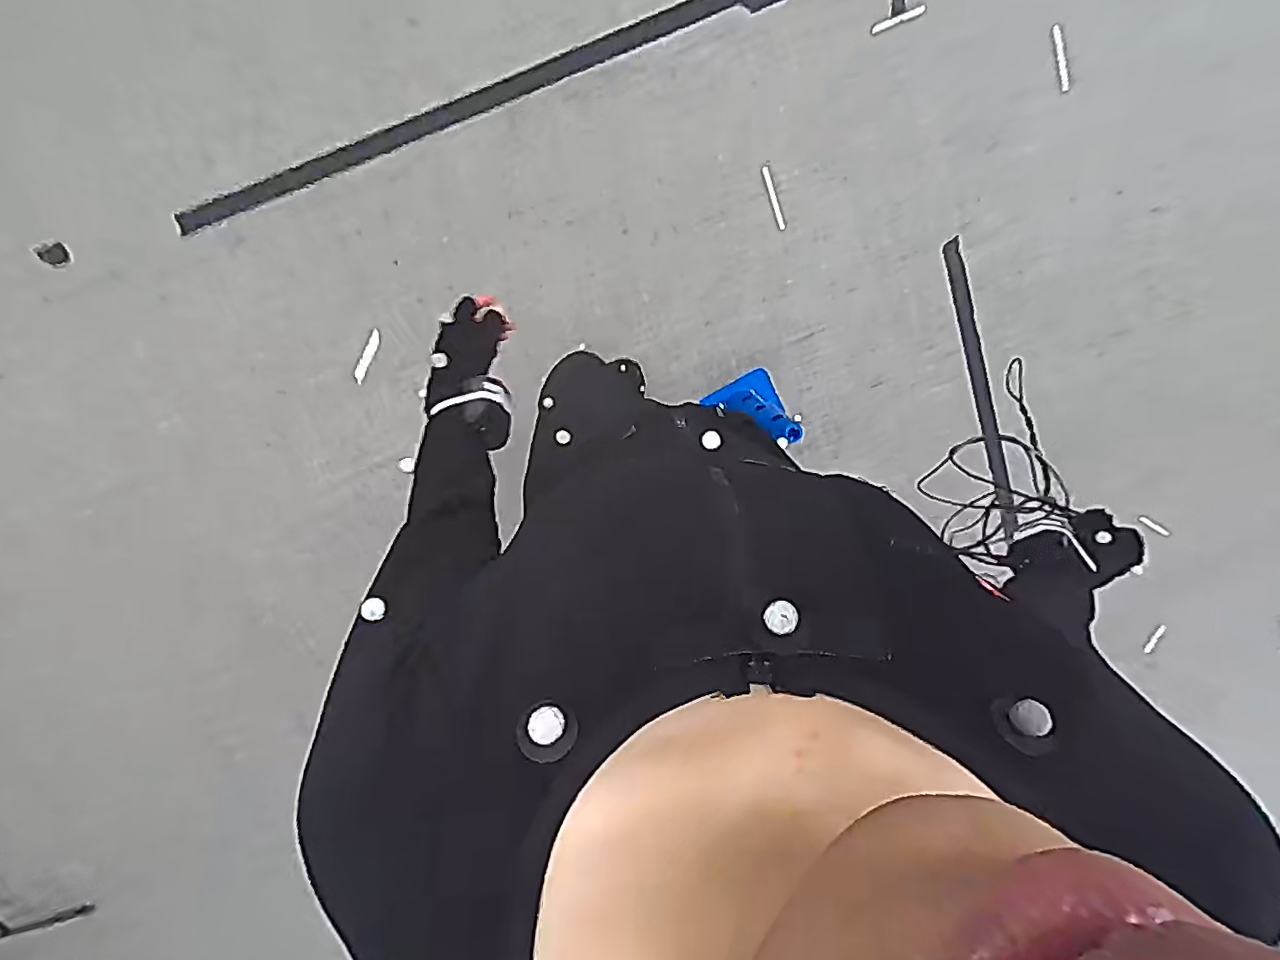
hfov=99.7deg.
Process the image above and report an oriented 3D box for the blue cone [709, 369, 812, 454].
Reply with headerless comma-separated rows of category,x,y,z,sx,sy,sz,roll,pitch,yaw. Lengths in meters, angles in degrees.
blue cone,0.310,-0.145,1.292,0.192,0.380,0.193,-27,103,0
